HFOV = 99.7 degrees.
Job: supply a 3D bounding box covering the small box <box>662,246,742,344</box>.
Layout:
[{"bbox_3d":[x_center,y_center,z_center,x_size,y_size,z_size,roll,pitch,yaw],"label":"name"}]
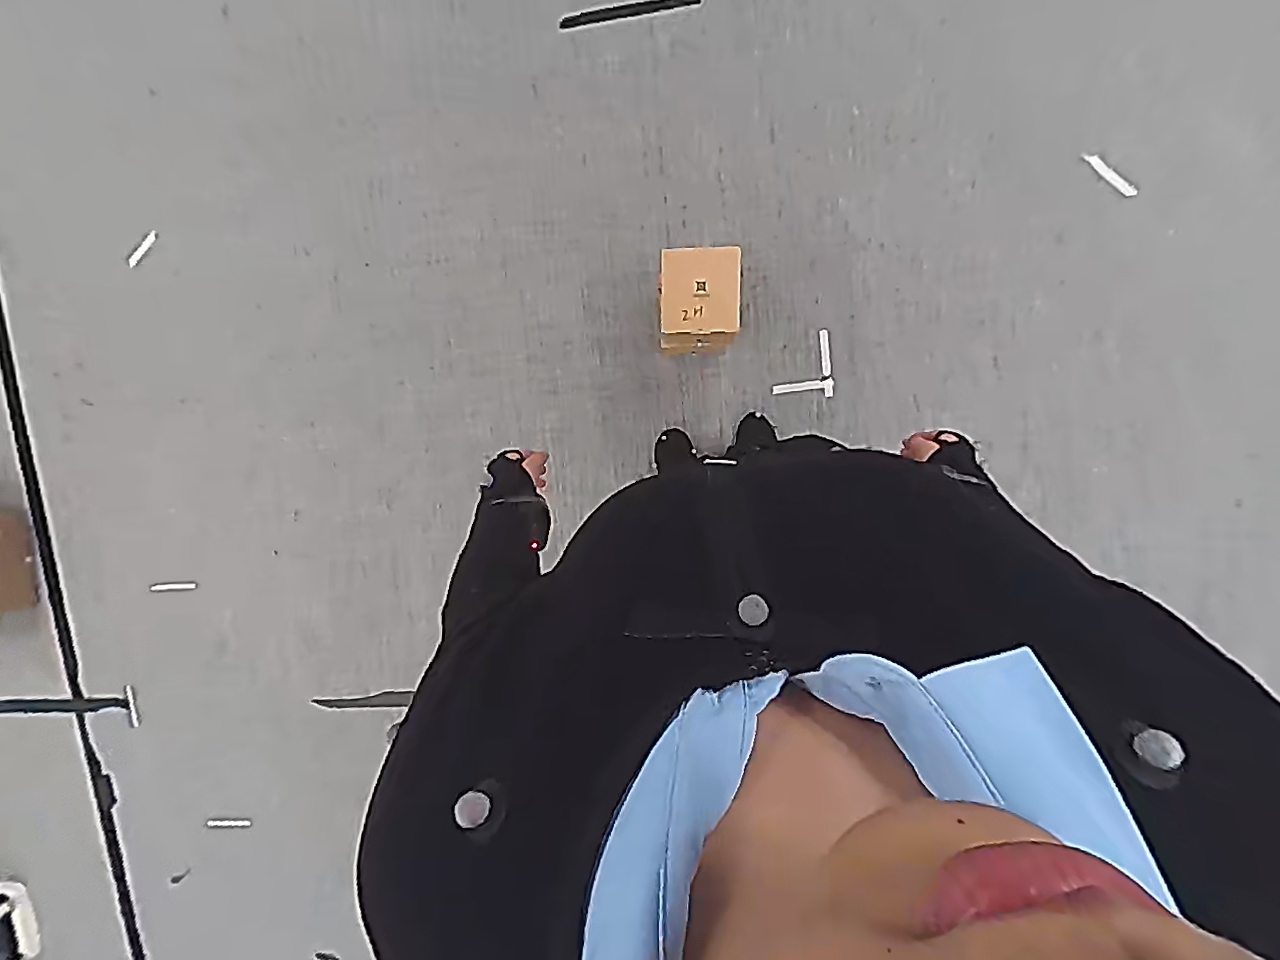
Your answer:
[{"bbox_3d":[0.135,-0.404,1.202,0.168,0.176,0.179,1,97,7],"label":"small box"}]
